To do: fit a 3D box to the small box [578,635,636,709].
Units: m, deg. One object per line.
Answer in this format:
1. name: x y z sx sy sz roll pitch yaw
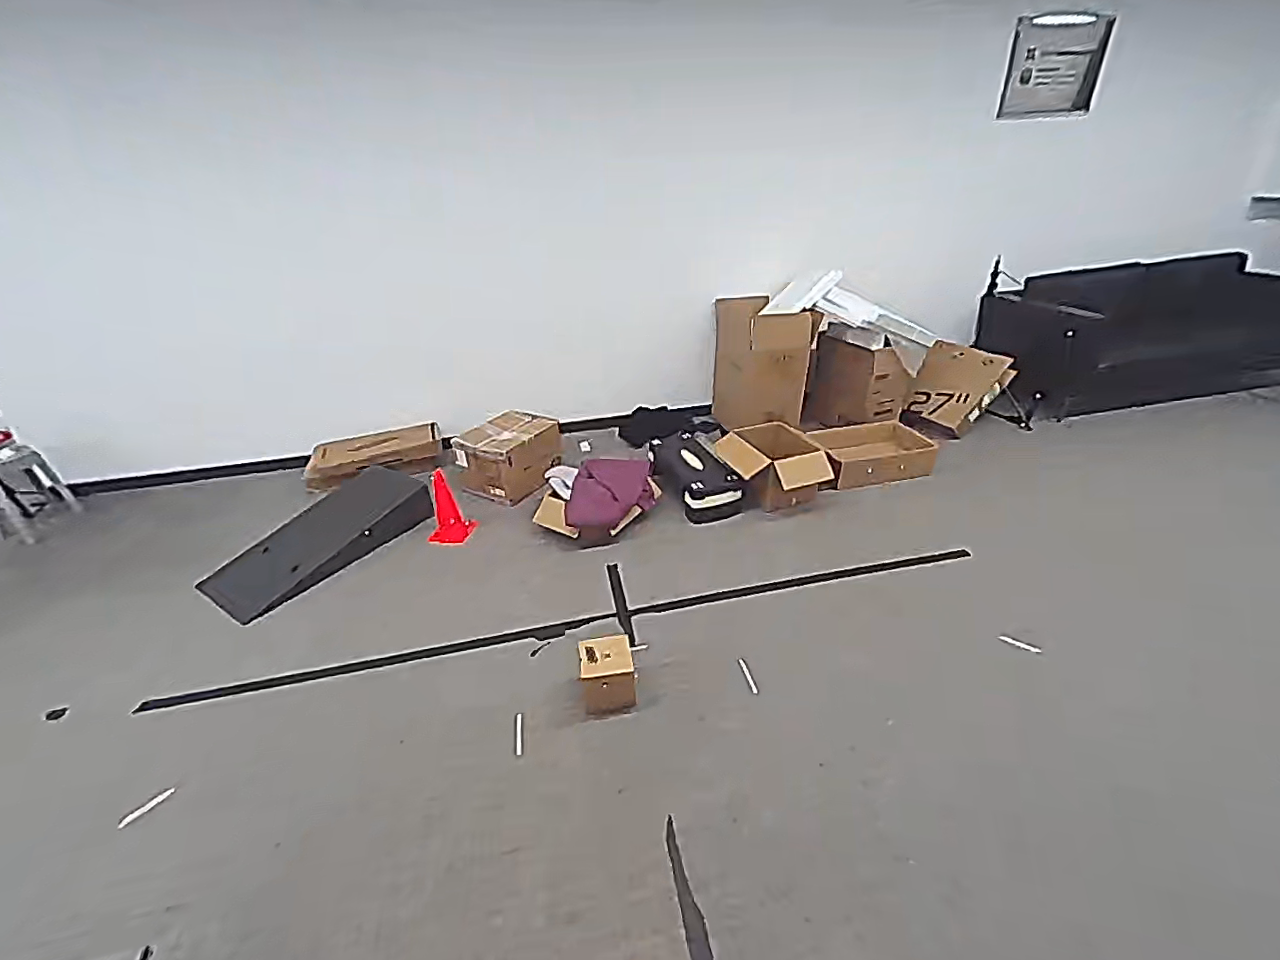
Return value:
1. small box: -0.113 0.657 1.843 0.179 0.176 0.168 -6 30 -7
